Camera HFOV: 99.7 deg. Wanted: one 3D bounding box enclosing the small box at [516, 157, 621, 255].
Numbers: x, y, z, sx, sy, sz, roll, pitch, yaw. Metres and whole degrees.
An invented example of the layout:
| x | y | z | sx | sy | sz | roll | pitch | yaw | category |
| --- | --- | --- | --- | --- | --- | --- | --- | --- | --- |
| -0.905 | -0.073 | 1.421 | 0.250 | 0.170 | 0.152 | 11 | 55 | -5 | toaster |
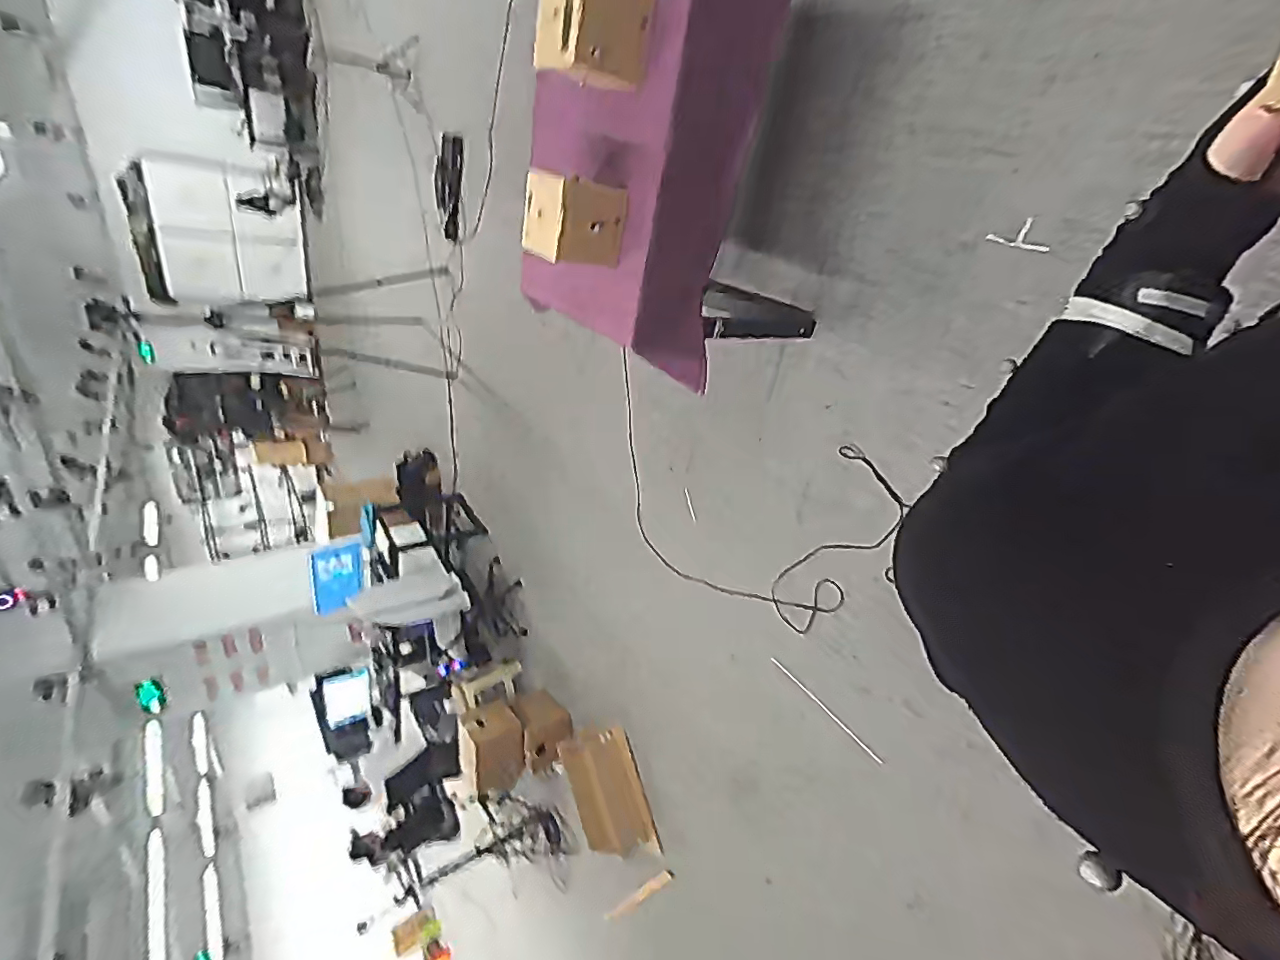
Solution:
| x | y | z | sx | sy | sz | roll | pitch | yaw | category |
| --- | --- | --- | --- | --- | --- | --- | --- | --- | --- |
| -0.166 | -0.627 | 1.249 | 0.179 | 0.176 | 0.168 | 41 | 129 | 38 | small box |
